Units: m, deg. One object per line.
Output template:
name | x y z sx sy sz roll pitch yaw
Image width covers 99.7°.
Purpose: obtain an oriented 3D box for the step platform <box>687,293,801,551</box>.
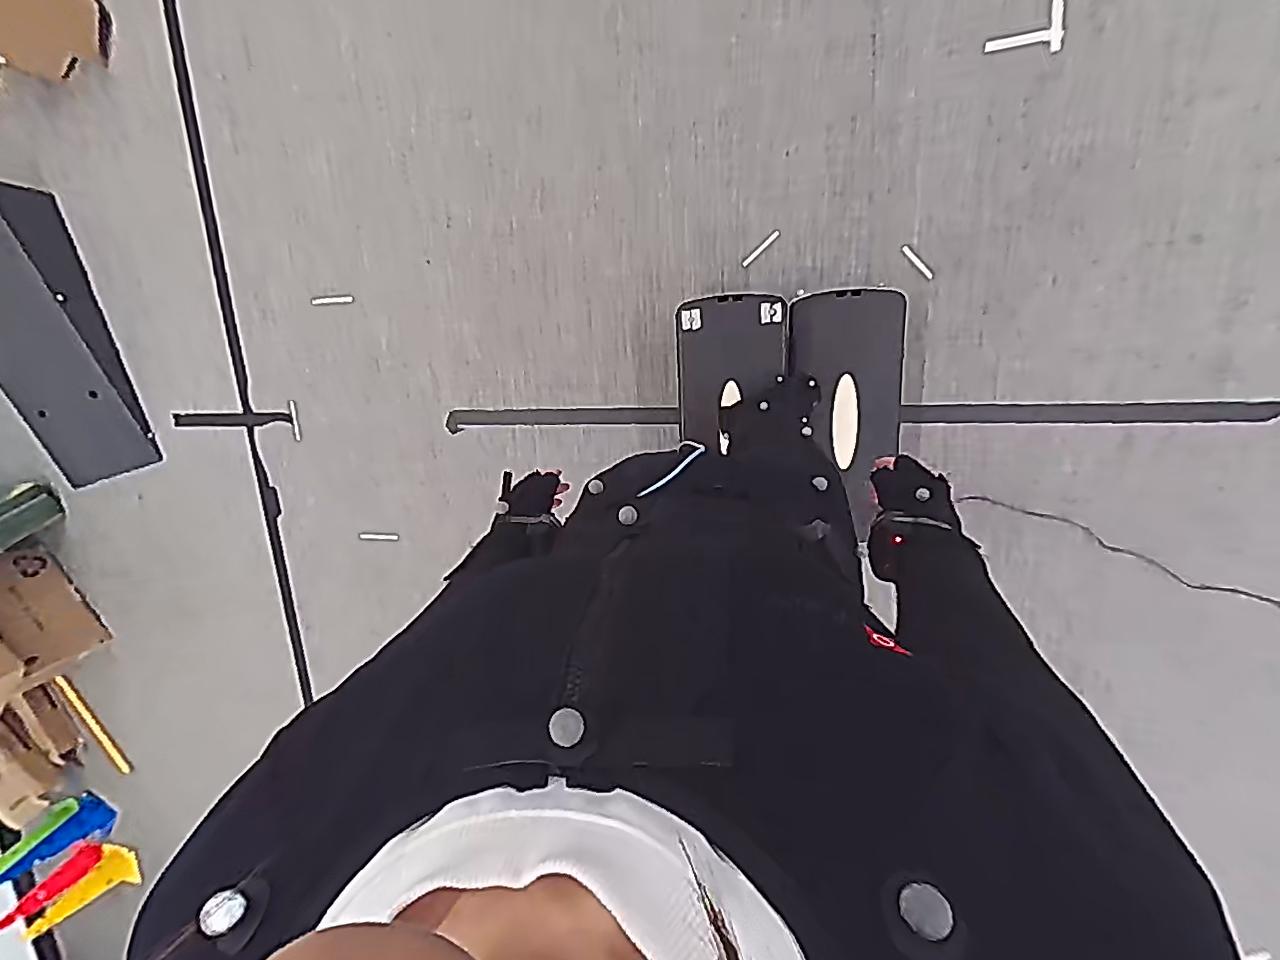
step platform | 0.285 -0.148 1.468 0.286 0.204 0.684 -1 101 12
